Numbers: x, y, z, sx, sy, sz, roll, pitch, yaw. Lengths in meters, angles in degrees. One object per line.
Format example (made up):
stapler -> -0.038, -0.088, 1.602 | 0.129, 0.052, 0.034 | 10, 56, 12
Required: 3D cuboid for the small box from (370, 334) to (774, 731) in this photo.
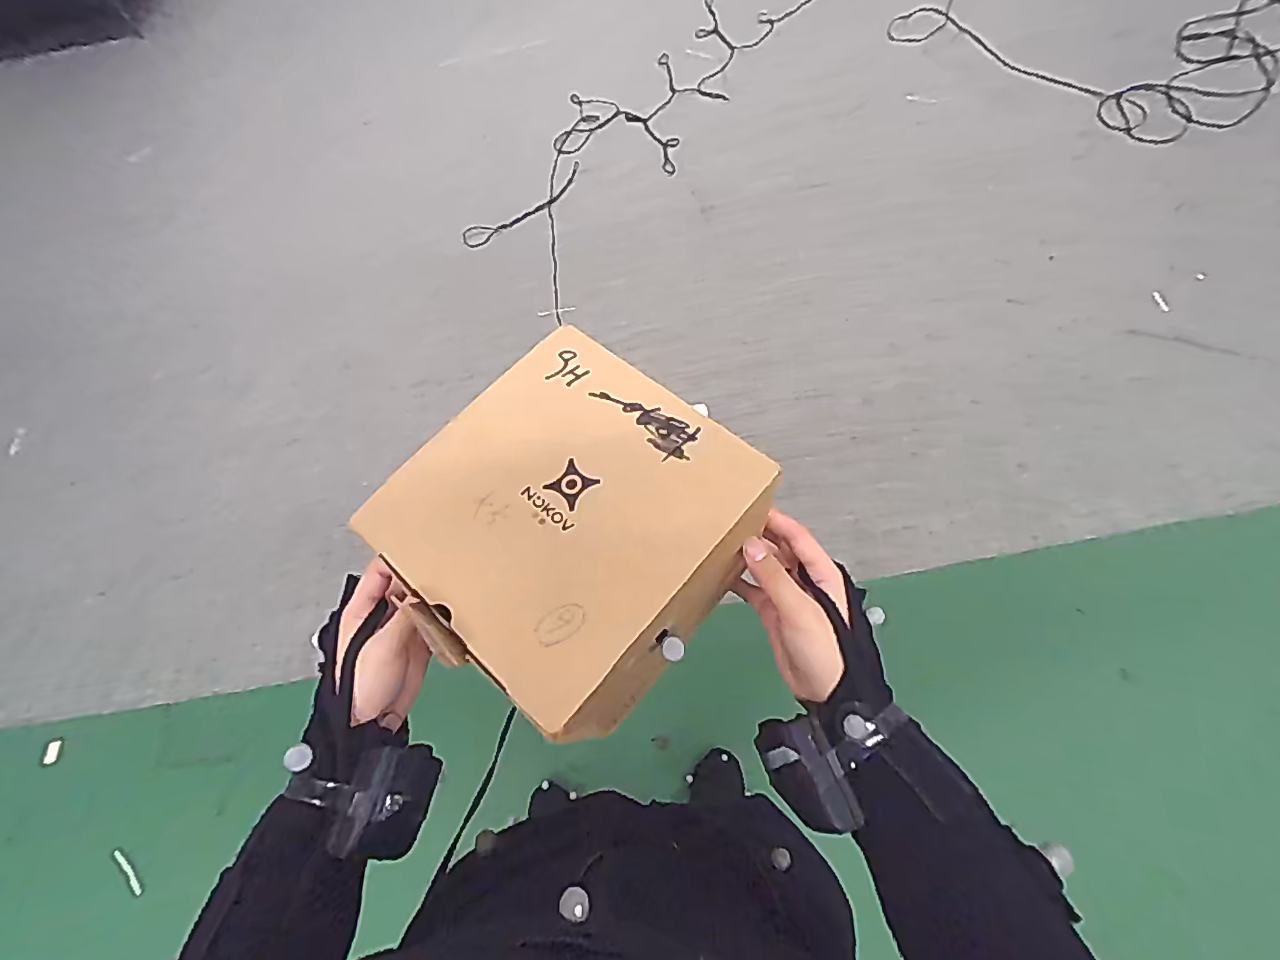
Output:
small box -> -0.031, 0.045, 0.372 | 0.168, 0.176, 0.179 | 38, 75, 20
